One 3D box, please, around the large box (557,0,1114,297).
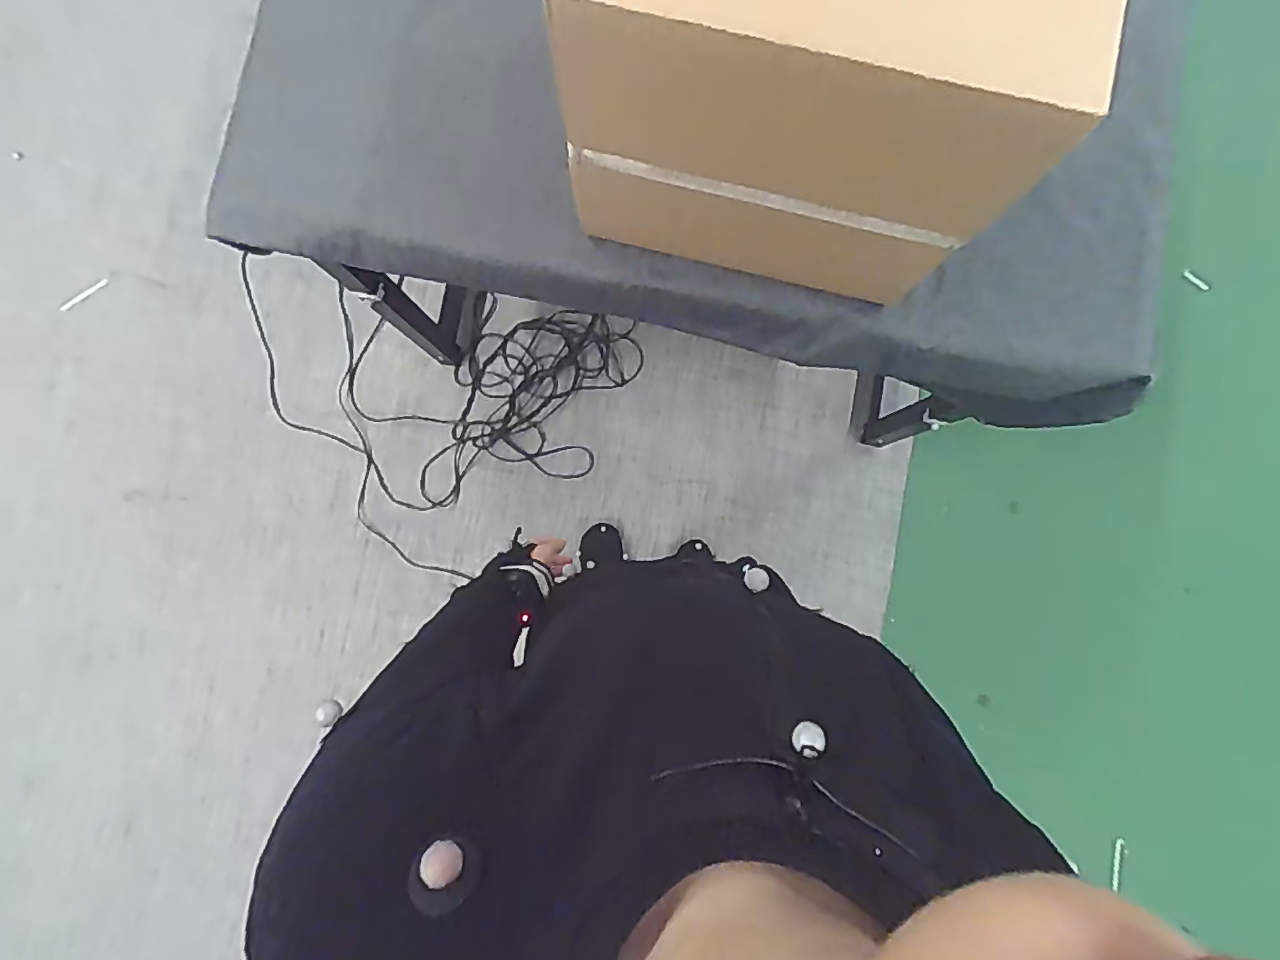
[{"bbox_3d":[0.161,-0.426,0.545,0.408,0.320,0.320,12,84,0],"label":"large box"}]
